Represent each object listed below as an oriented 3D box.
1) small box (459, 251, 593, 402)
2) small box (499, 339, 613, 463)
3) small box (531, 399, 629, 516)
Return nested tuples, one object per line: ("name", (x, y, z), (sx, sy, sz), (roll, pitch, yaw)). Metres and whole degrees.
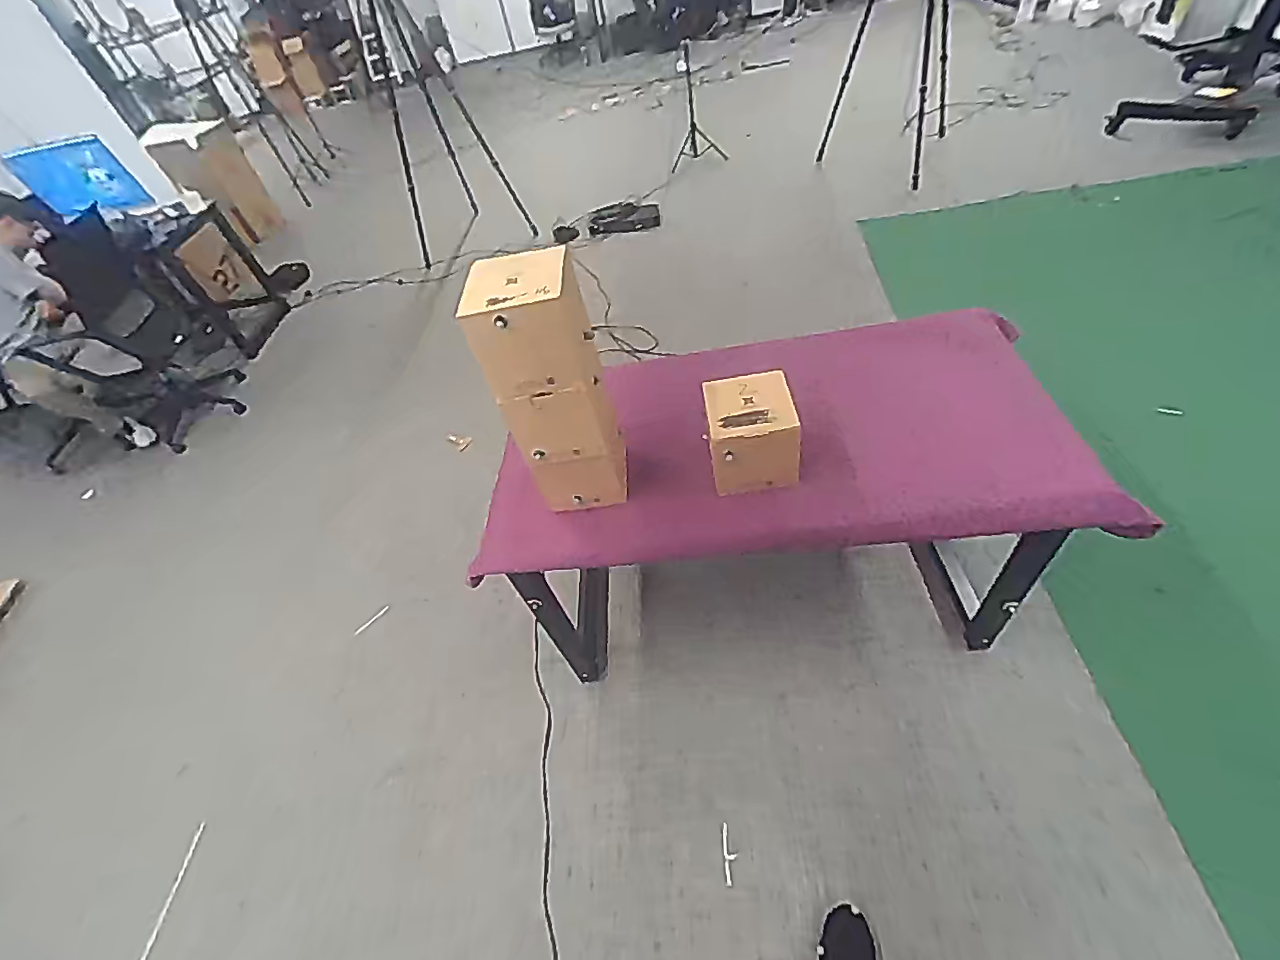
("small box", (-0.180, -0.259, 0.919), (0.168, 0.176, 0.179), (-9, 47, 8))
("small box", (-0.150, -0.146, 1.035), (0.168, 0.176, 0.179), (-8, 47, 8))
("small box", (-0.120, -0.046, 1.161), (0.168, 0.176, 0.179), (-8, 49, 8))
